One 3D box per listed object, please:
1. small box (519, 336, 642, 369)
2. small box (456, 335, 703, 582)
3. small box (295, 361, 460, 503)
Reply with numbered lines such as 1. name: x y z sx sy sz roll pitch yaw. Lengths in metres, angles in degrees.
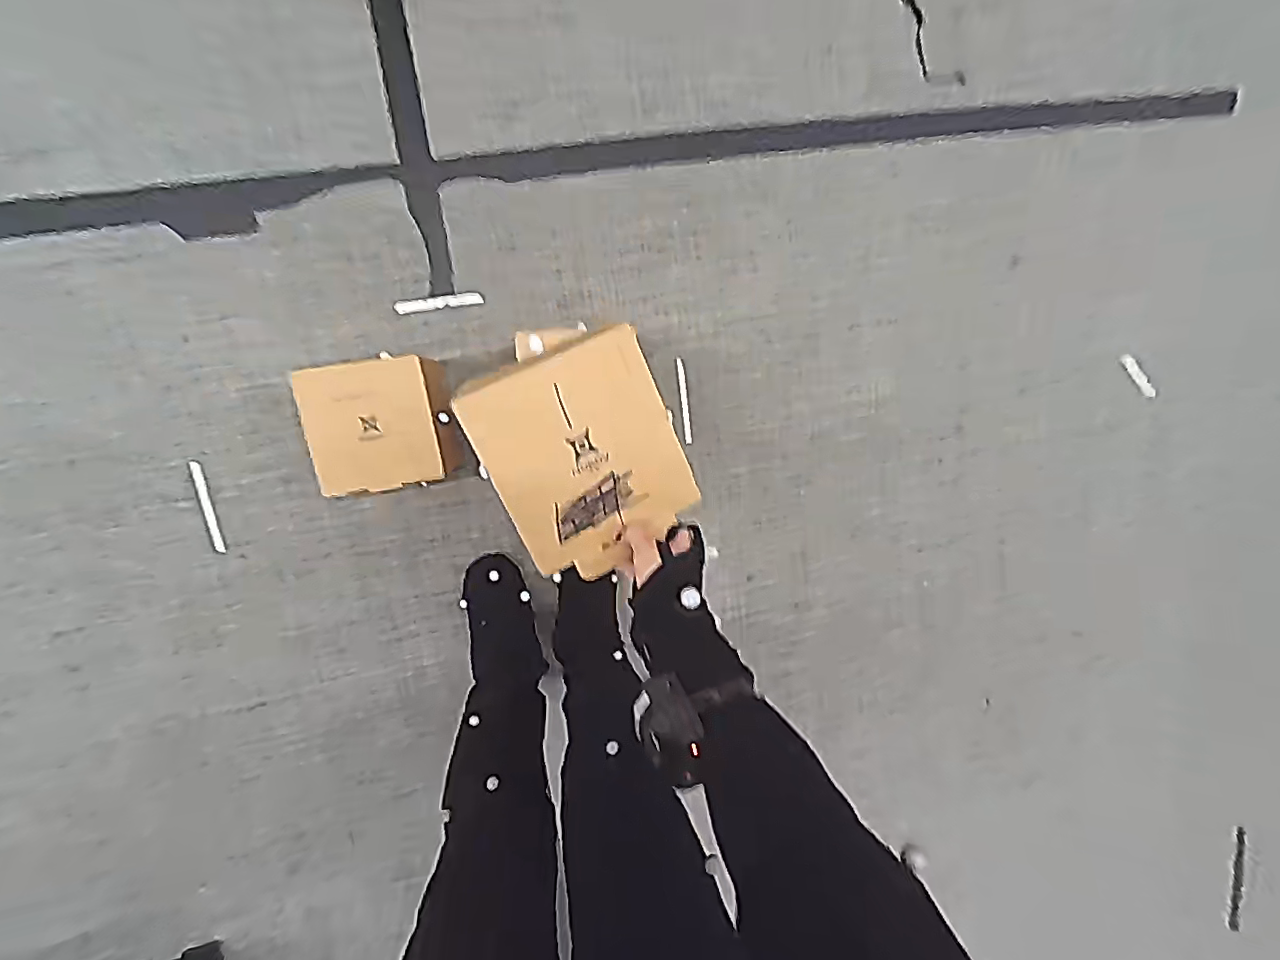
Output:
1. small box: -0.096 -0.139 0.861 0.179 0.176 0.168 -6 101 -12
2. small box: -0.061 -0.034 0.542 0.168 0.176 0.179 -26 108 -6
3. small box: -0.378 -0.078 0.814 0.168 0.176 0.179 -11 101 -11
